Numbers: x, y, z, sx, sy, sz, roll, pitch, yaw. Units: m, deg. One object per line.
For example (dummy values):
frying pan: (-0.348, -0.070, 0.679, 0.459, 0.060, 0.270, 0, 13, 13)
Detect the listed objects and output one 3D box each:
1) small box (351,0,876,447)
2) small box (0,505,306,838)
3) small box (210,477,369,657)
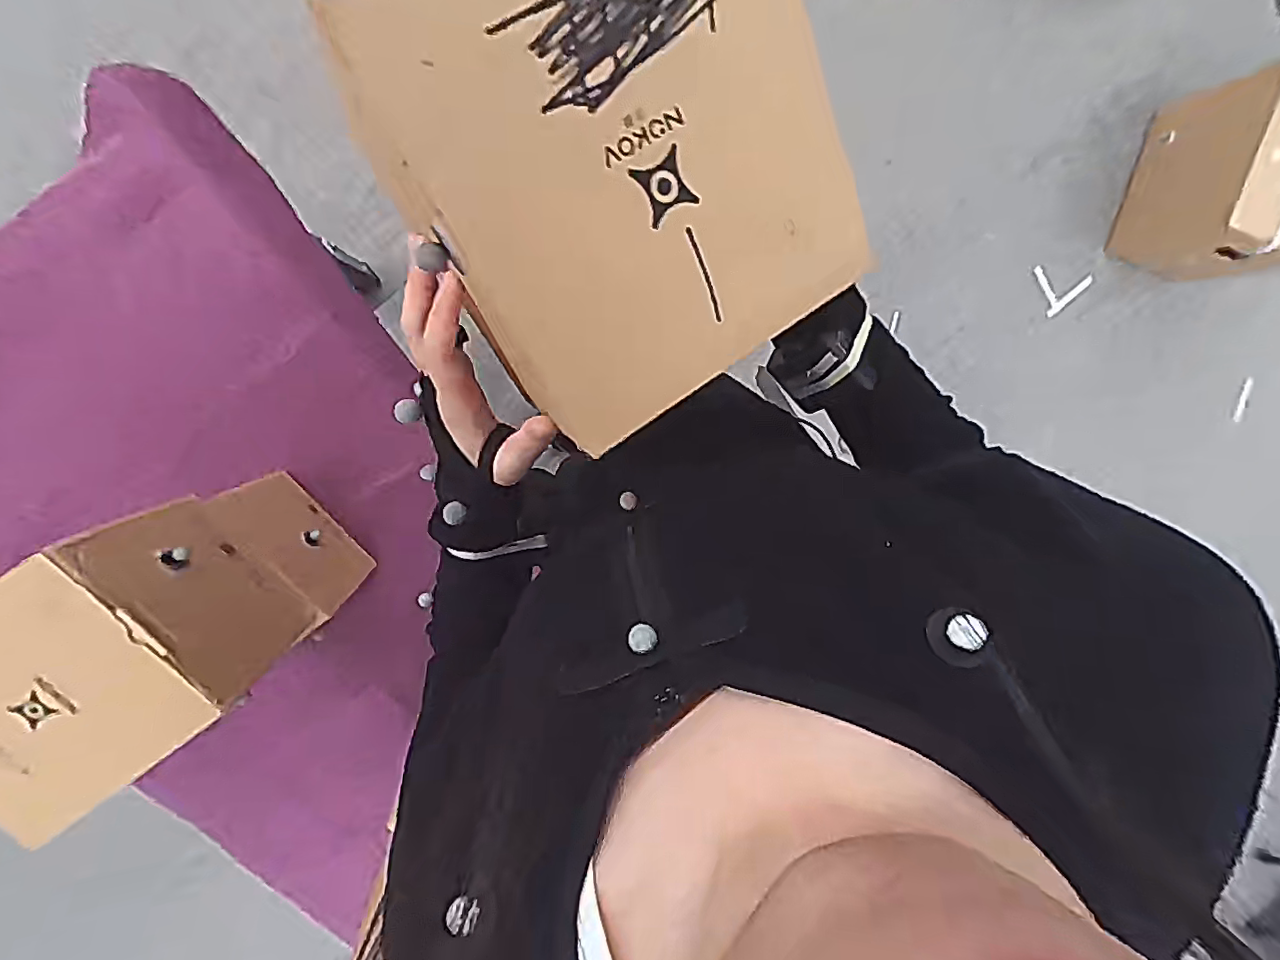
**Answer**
small box: (-0.017, -0.147, 0.285, 0.168, 0.176, 0.179, -34, 118, -8)
small box: (-0.433, 0.144, 0.470, 0.179, 0.176, 0.168, -36, 104, 1)
small box: (-0.448, 0.117, 0.630, 0.179, 0.176, 0.168, -38, 104, 0)
